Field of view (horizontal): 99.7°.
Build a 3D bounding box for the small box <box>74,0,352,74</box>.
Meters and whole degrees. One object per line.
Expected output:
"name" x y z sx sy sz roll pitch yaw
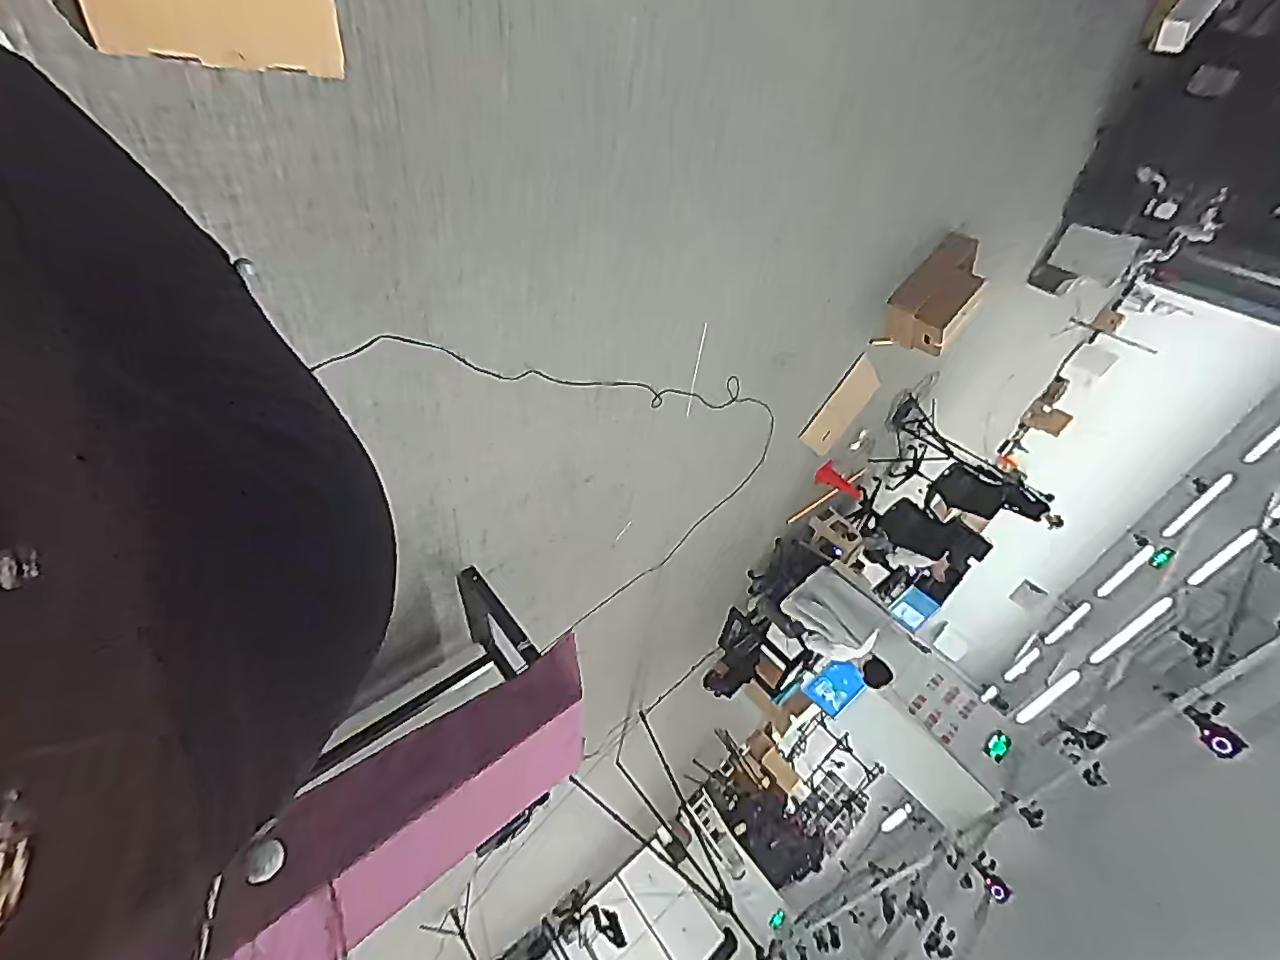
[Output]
"small box" -0.351 -0.437 0.412 0.168 0.176 0.179 -24 140 -35
